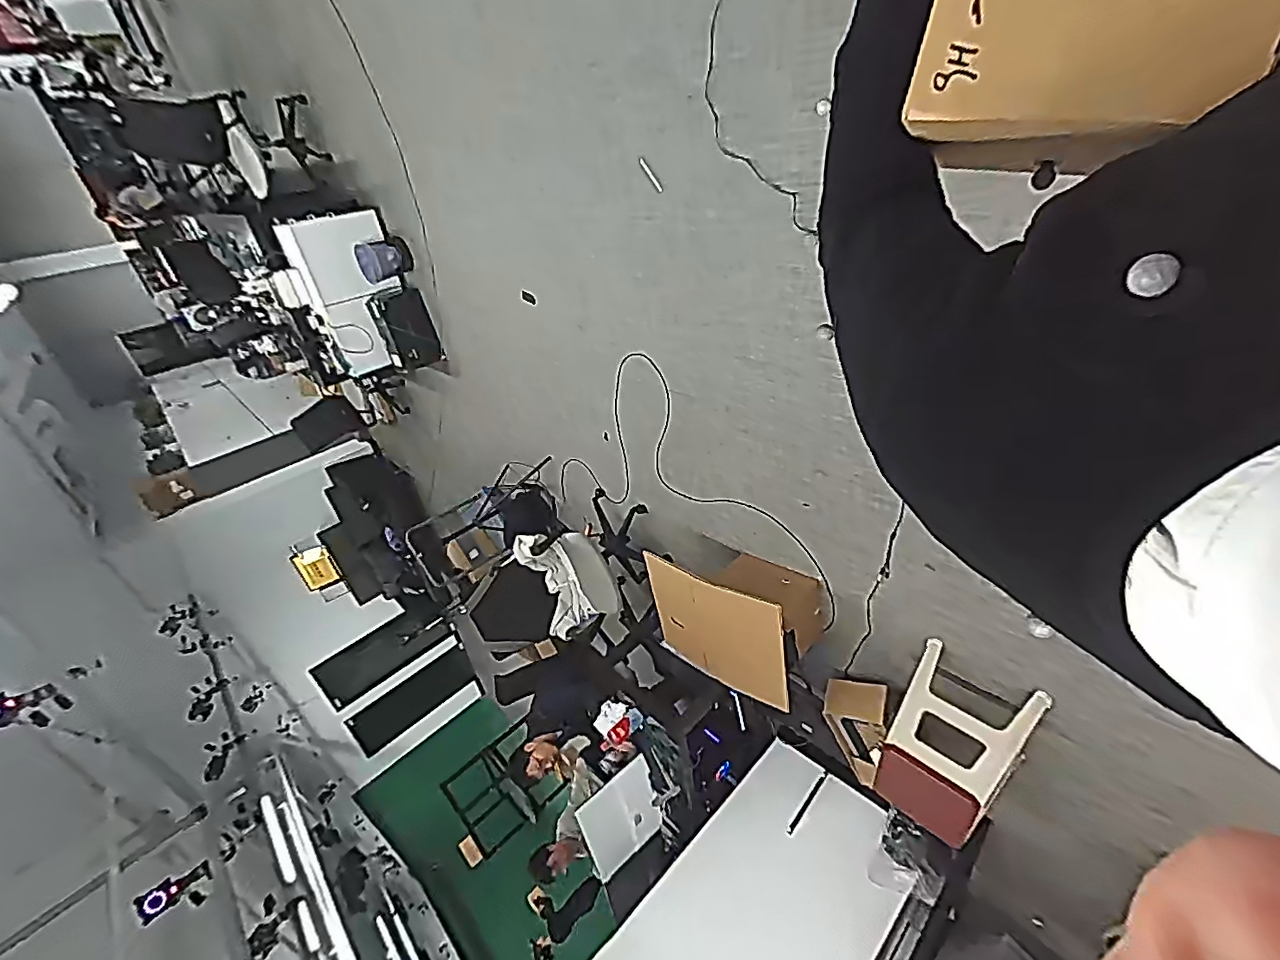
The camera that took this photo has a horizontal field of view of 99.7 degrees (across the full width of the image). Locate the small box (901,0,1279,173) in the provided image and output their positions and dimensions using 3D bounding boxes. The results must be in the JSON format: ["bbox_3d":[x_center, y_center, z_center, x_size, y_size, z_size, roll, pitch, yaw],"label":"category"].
[{"bbox_3d":[0.305,-0.313,0.359,0.179,0.176,0.168,22,117,29],"label":"small box"}]
